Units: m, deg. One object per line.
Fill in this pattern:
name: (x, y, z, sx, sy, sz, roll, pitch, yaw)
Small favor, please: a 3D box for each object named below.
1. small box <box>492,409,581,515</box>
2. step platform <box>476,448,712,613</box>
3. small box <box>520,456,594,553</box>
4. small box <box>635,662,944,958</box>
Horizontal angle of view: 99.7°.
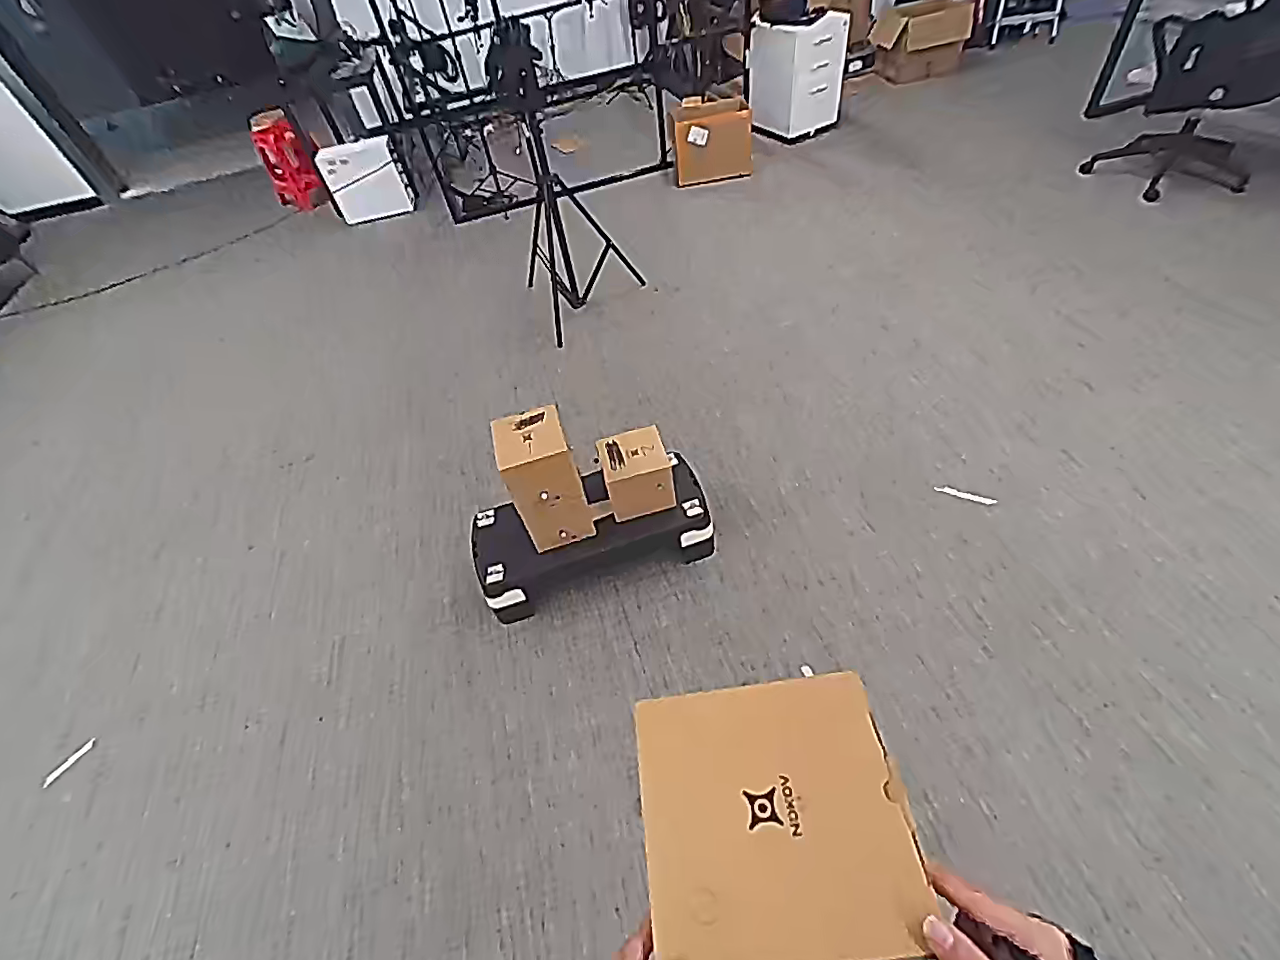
small box: (-0.256, -0.043, 1.343, 0.168, 0.176, 0.179, -17, 49, -5)
step platform: (-0.135, 0.142, 1.612, 0.684, 0.204, 0.286, -18, 48, -6)
small box: (-0.231, 0.066, 1.463, 0.168, 0.176, 0.179, -17, 49, -5)
small box: (0.099, 0.265, 0.430, 0.179, 0.176, 0.168, -9, 50, 2)
